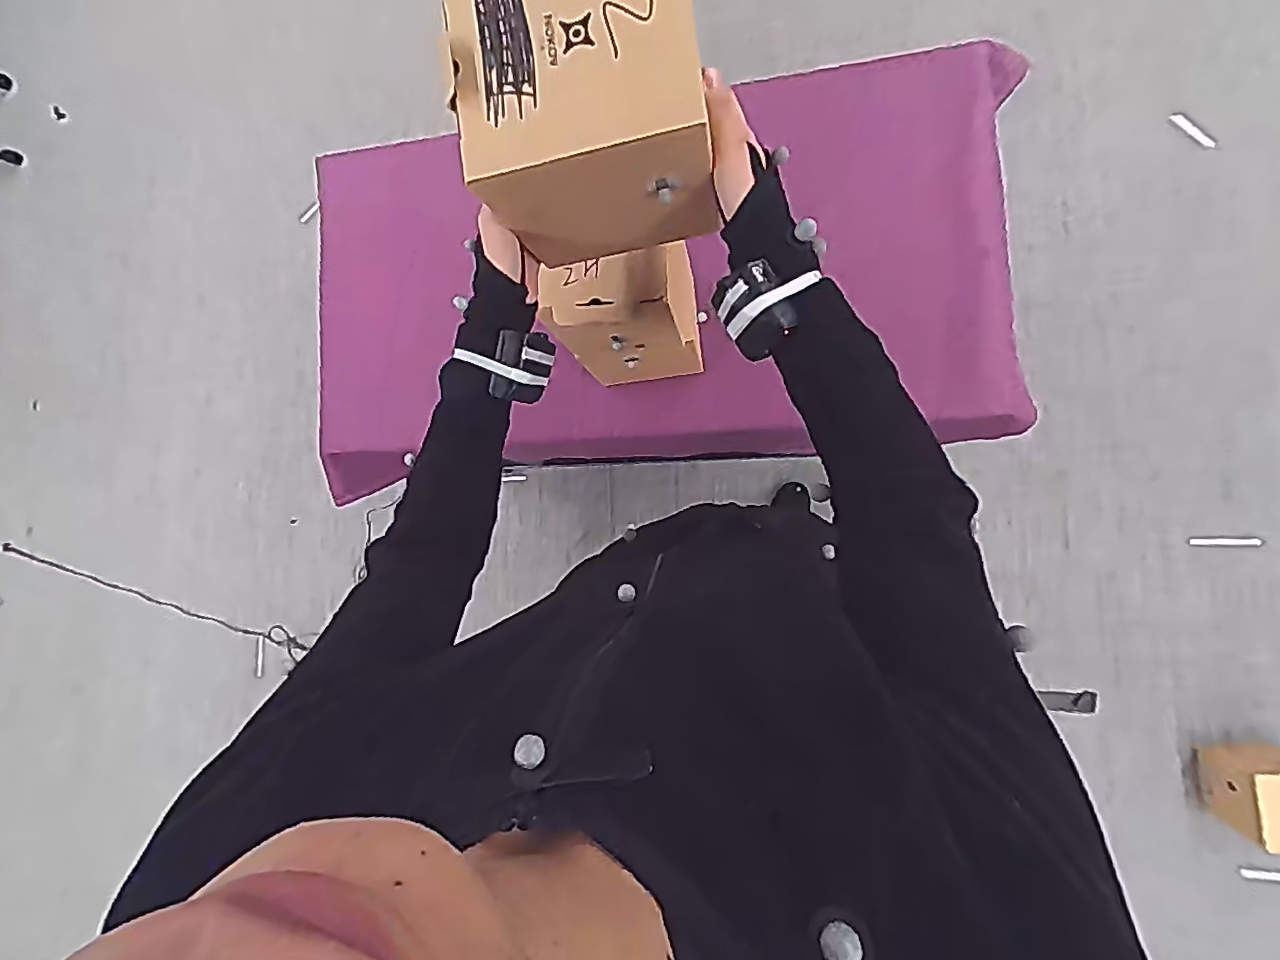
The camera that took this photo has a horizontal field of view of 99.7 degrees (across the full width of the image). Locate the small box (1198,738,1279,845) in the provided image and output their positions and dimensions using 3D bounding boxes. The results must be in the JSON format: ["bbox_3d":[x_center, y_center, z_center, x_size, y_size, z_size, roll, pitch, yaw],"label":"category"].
[{"bbox_3d":[1.450,0.712,1.247,0.179,0.176,0.168,-5,86,11],"label":"small box"}]

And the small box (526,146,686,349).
[{"bbox_3d":[-0.033,-0.280,0.686,0.168,0.176,0.179,0,86,11],"label":"small box"}]

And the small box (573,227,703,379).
[{"bbox_3d":[-0.001,-0.265,0.847,0.179,0.176,0.168,-6,85,10],"label":"small box"}]
